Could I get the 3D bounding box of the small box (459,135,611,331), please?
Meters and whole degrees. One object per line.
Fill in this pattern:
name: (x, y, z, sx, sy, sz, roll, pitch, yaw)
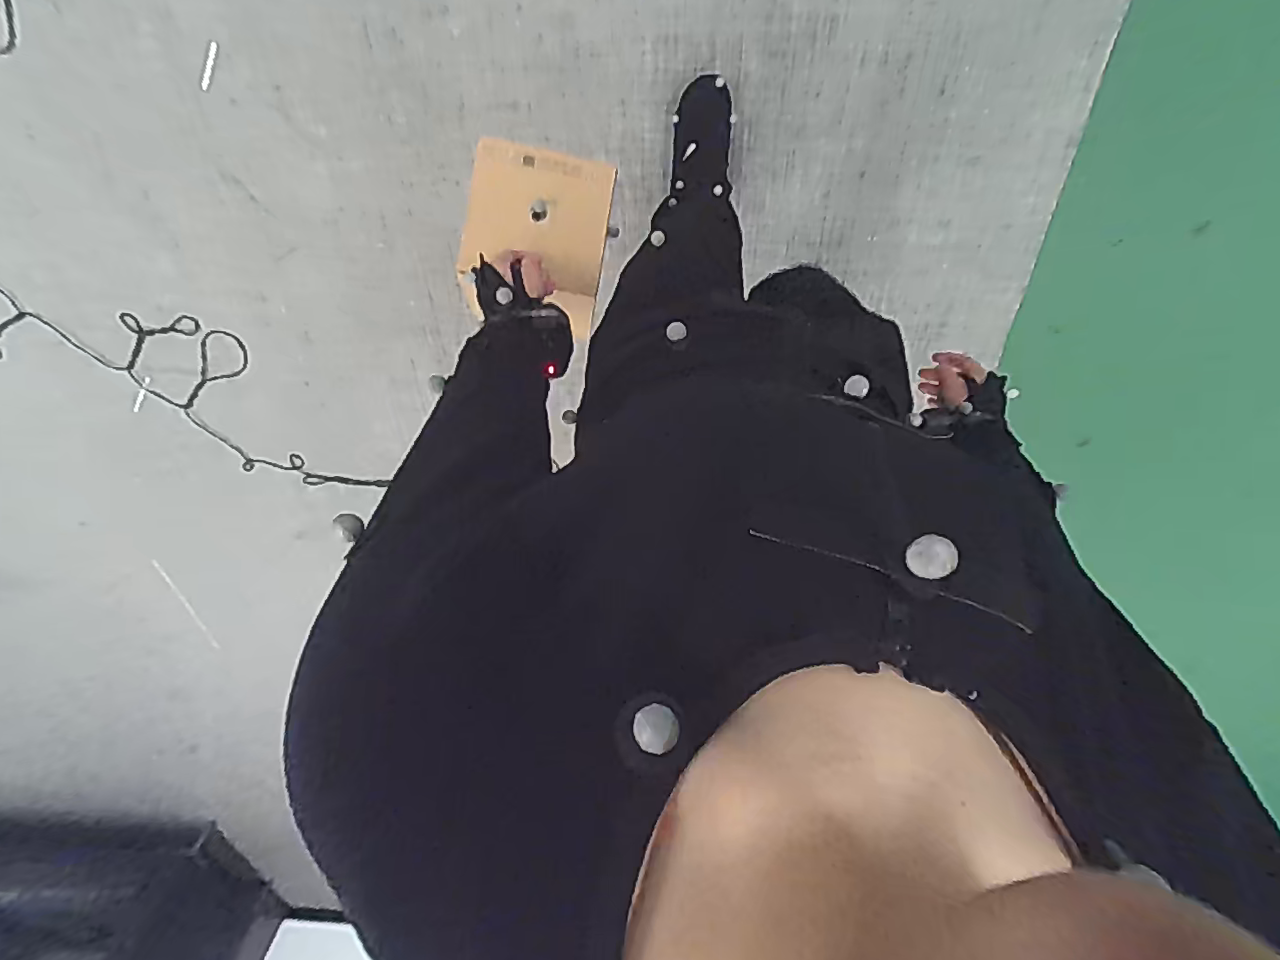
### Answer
small box: (-0.134, -0.316, 0.718, 0.168, 0.179, 0.176, 8, 88, -9)
